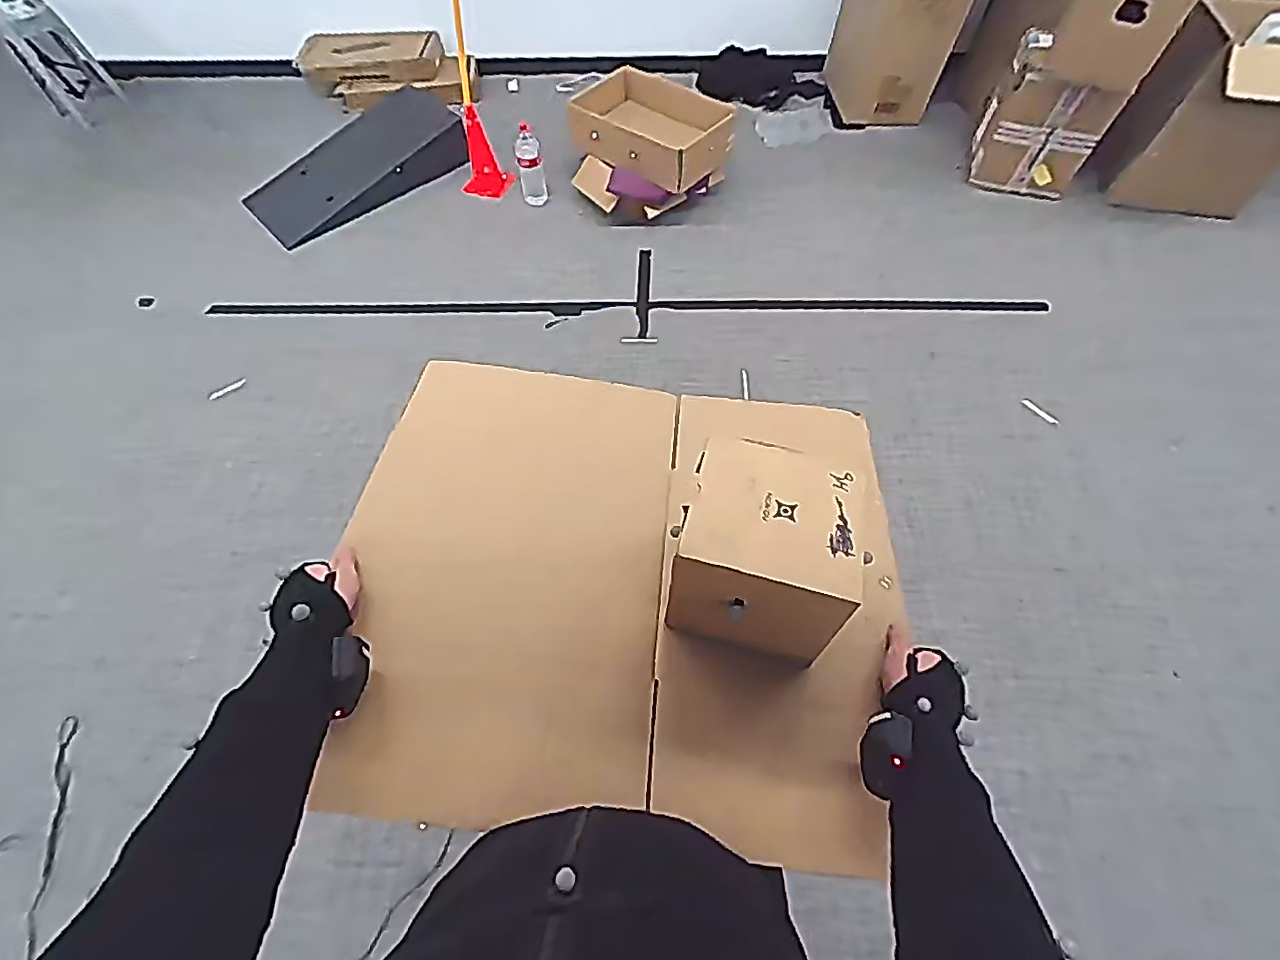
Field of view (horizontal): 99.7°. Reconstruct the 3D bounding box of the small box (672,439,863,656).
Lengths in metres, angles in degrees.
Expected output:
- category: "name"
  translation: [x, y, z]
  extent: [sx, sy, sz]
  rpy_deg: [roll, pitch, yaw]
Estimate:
- category: "small box"
  translation: [0.138, 0.081, 0.617]
  extent: [0.179, 0.176, 0.168]
  rpy_deg: [13, 54, 9]
